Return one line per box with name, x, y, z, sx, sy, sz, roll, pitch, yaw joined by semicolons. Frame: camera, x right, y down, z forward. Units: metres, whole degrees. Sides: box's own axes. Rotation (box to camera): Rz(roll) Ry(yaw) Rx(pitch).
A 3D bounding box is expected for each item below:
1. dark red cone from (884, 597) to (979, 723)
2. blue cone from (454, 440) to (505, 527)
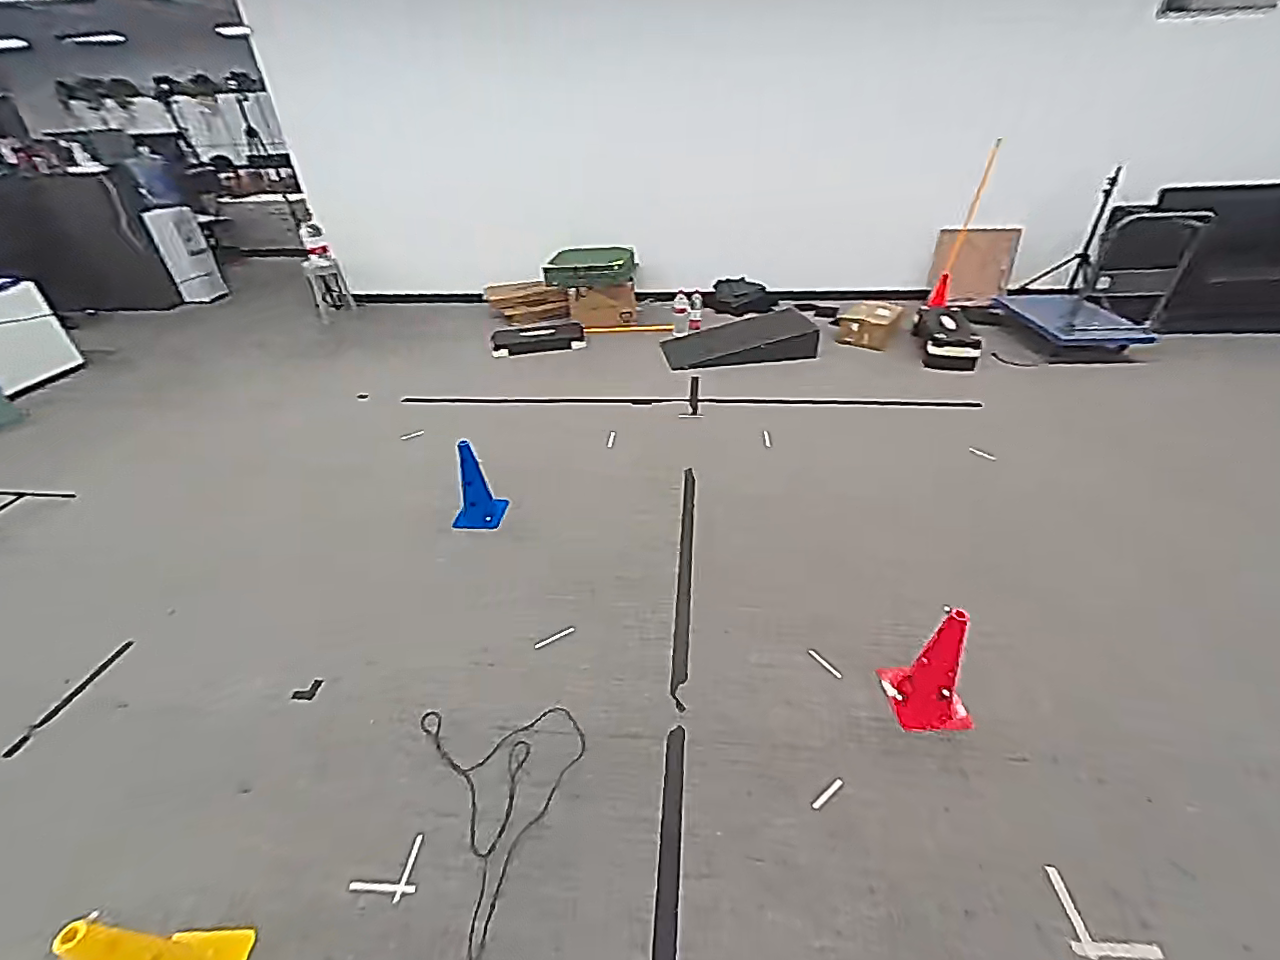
dark red cone;0.809;0.457;1.438;0.201;0.394;0.202;-4;35;0
blue cone;-0.695;0.005;2.234;0.192;0.380;0.193;1;35;7
